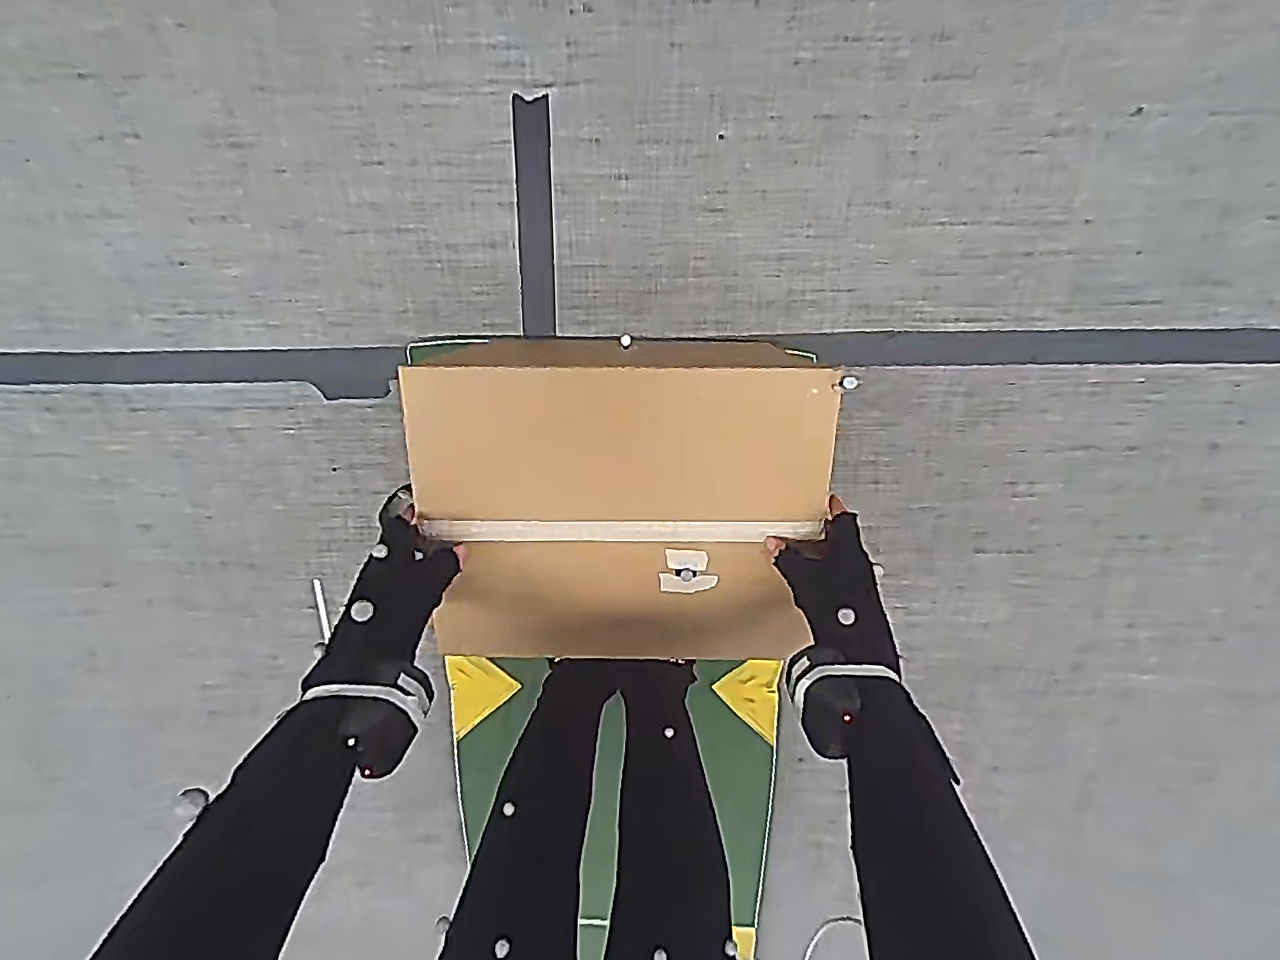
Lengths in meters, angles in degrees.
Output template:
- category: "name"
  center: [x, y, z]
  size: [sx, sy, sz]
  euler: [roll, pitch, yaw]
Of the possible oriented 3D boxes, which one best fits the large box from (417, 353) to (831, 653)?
- category: "large box"
  center: [-0.016, 0.002, 0.701]
  size: [0.408, 0.320, 0.320]
  euler: [0, 109, 0]
